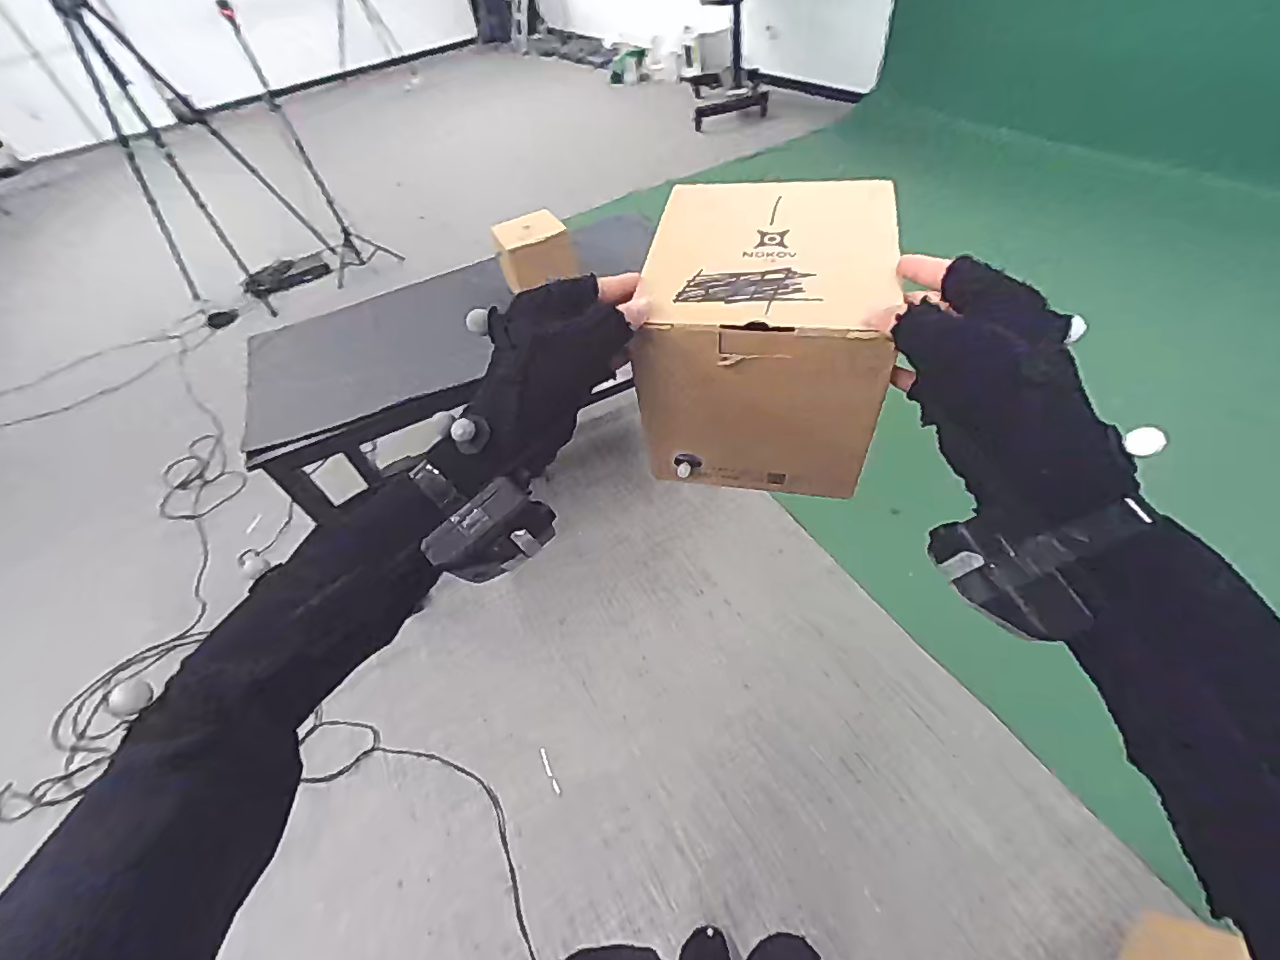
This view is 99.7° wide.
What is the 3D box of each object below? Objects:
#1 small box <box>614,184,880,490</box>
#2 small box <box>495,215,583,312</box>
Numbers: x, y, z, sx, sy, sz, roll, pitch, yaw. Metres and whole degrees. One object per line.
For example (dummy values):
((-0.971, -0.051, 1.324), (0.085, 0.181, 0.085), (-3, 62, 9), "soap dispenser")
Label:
((0.090, -0.110, 0.438), (0.168, 0.176, 0.179), (5, 54, 14), "small box")
((-0.270, -0.584, 1.464), (0.168, 0.176, 0.179), (-25, 49, -11), "small box")
